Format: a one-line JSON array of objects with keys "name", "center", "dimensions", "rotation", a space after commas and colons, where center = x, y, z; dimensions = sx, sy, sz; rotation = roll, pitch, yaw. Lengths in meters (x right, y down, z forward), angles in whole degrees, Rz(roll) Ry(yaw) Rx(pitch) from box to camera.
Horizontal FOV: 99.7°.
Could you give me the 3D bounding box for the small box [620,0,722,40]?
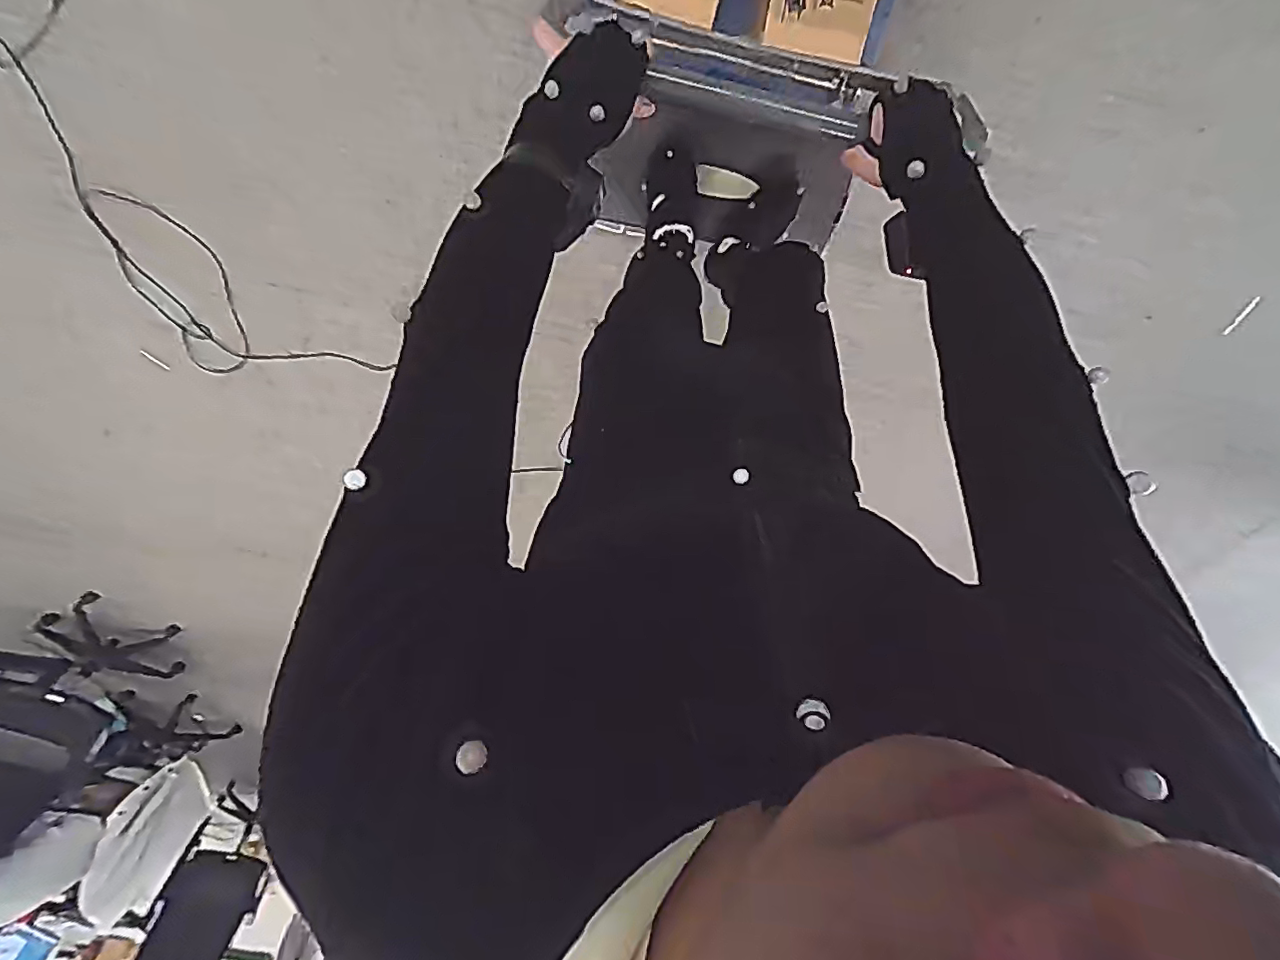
[{"name": "small box", "center": [0.067, -0.876, 0.910], "dimensions": [0.168, 0.176, 0.179], "rotation": [13, 129, -8]}]
